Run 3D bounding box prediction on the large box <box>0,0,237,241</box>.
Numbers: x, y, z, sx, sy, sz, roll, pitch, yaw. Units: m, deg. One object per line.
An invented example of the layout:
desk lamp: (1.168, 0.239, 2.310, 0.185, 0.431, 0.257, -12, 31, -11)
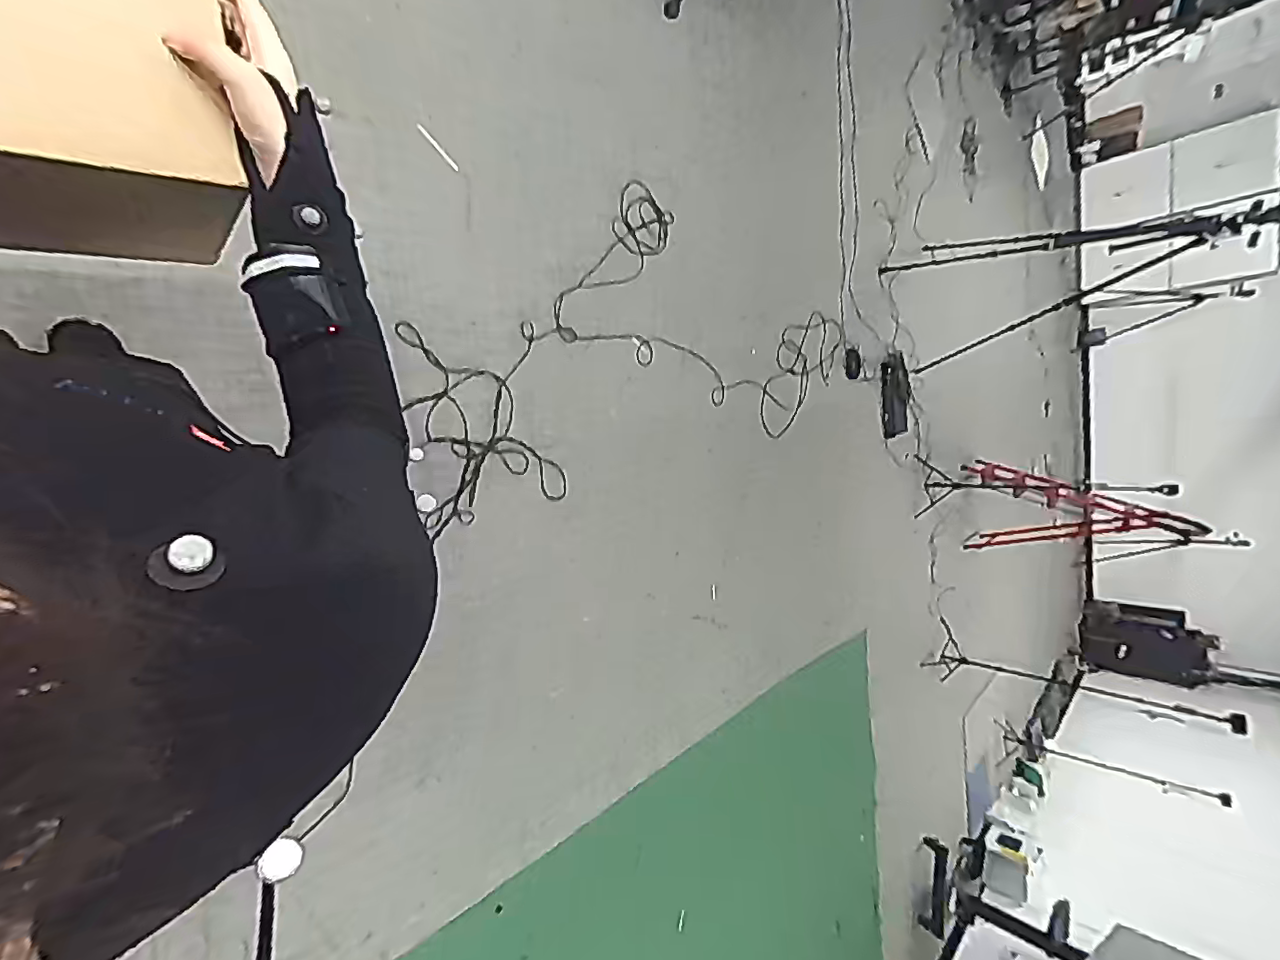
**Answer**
large box: (-0.557, -0.364, 0.363, 0.408, 0.320, 0.320, -13, 105, -39)
